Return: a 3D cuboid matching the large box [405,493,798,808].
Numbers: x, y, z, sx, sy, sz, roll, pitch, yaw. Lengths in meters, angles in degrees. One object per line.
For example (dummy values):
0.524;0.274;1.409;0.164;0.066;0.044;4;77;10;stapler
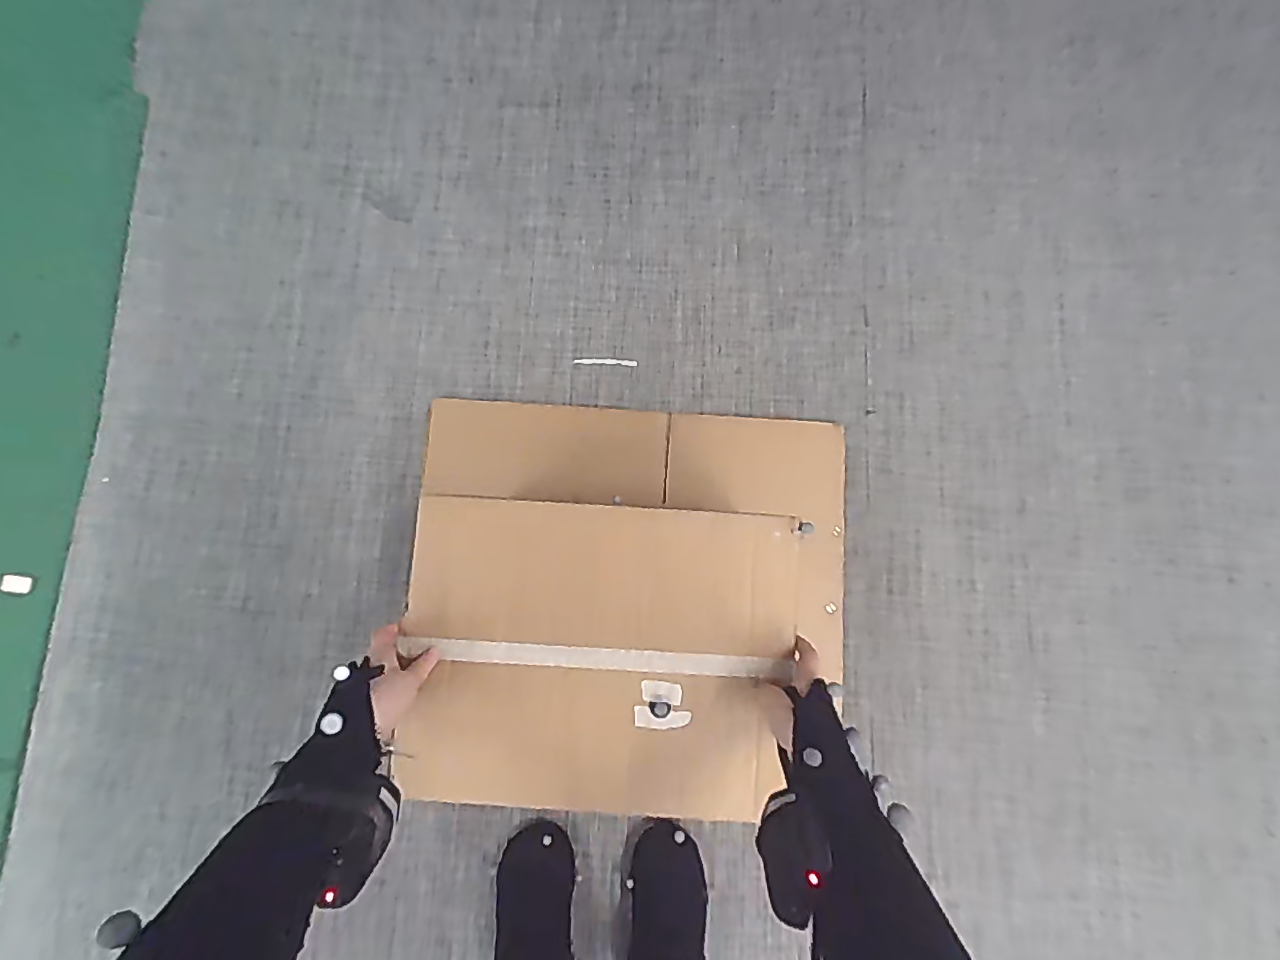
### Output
-0.039;0.190;0.710;0.408;0.320;0.320;3;86;-1;large box
